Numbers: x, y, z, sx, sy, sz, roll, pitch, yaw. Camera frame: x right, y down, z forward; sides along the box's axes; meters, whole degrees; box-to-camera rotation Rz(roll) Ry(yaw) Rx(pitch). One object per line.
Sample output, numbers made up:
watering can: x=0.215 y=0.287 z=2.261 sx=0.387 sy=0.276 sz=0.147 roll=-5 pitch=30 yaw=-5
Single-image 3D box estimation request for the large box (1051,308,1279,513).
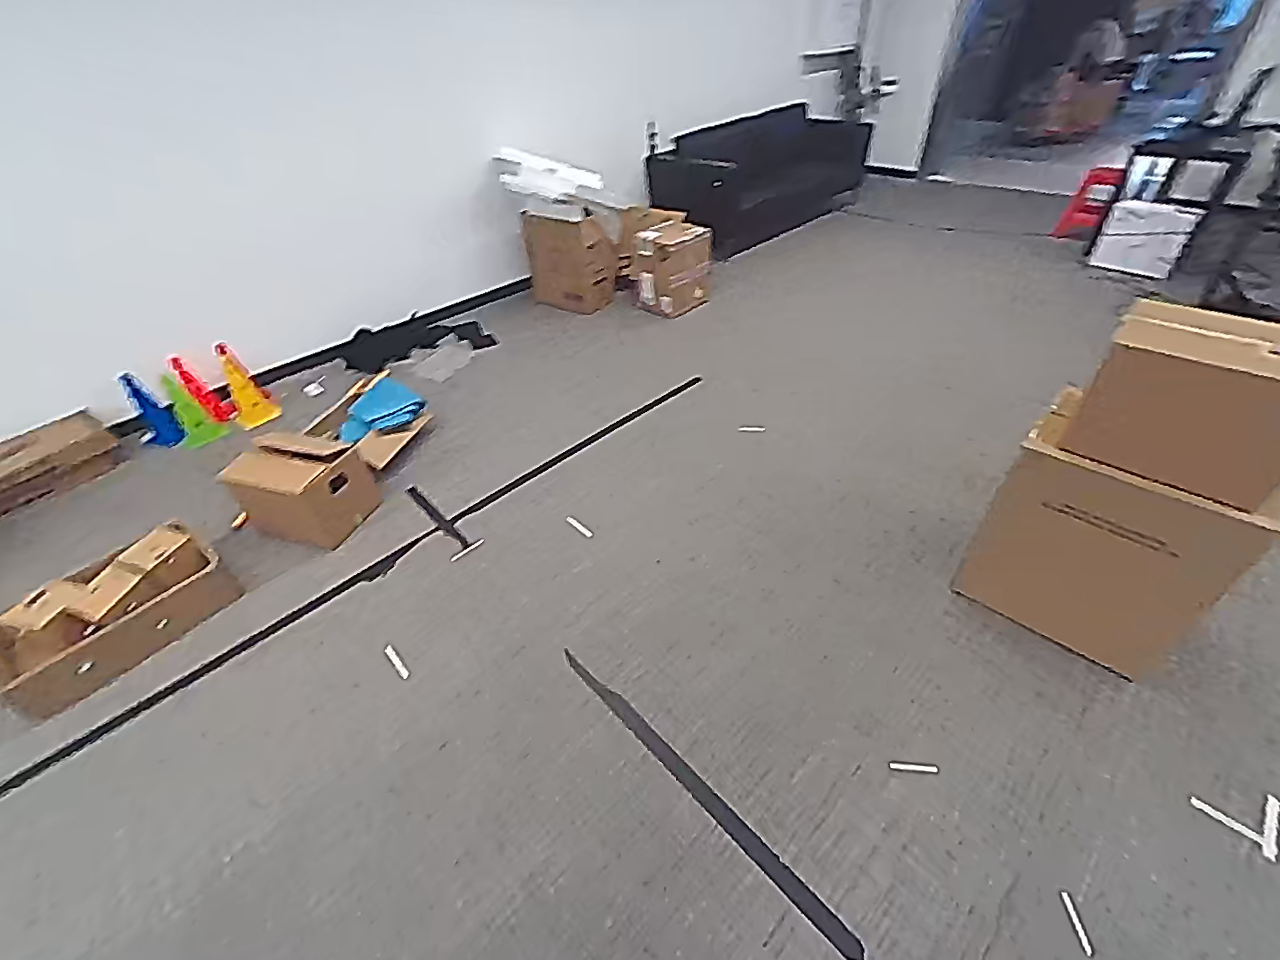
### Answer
large box: x=1.338 y=-0.186 z=1.335 sx=0.408 sy=0.320 sz=0.320 roll=30 pitch=51 yaw=33
